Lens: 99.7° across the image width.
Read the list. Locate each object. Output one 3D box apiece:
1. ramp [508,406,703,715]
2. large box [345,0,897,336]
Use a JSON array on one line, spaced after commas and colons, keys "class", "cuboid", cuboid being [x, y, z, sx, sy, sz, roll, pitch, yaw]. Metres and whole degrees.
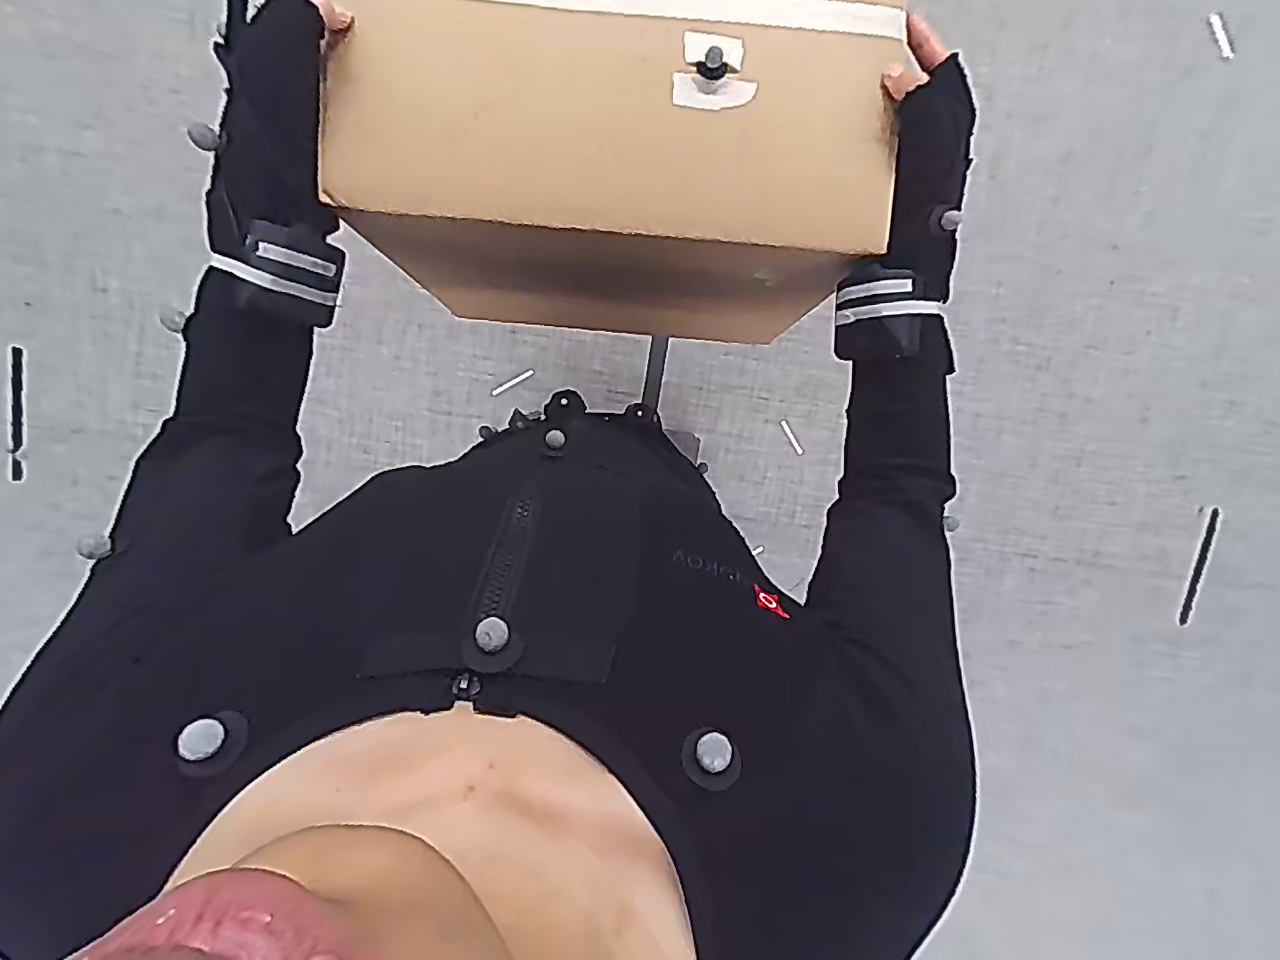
[{"class": "ramp", "cuboid": [-0.130, 0.293, 1.634, 0.509, 0.206, 0.991, 6, 100, -3]}, {"class": "large box", "cuboid": [-0.016, -0.344, 0.544, 0.408, 0.320, 0.320, 4, 92, -2]}]
